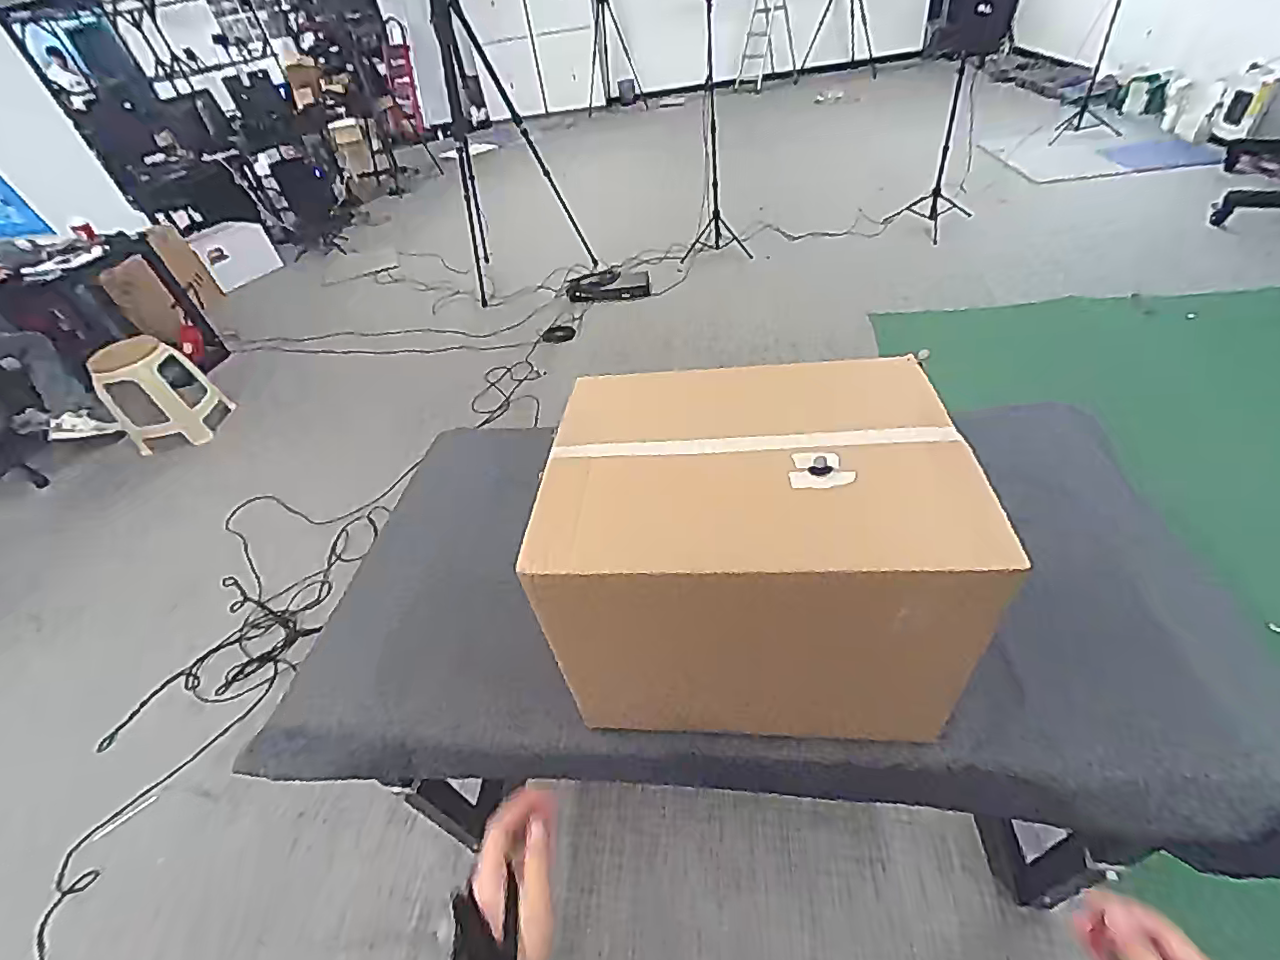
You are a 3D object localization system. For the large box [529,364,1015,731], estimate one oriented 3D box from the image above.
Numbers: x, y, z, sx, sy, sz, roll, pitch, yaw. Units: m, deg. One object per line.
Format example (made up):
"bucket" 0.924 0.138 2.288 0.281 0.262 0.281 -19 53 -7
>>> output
"large box" 0.125 0.082 0.651 0.408 0.320 0.320 -2 42 8
